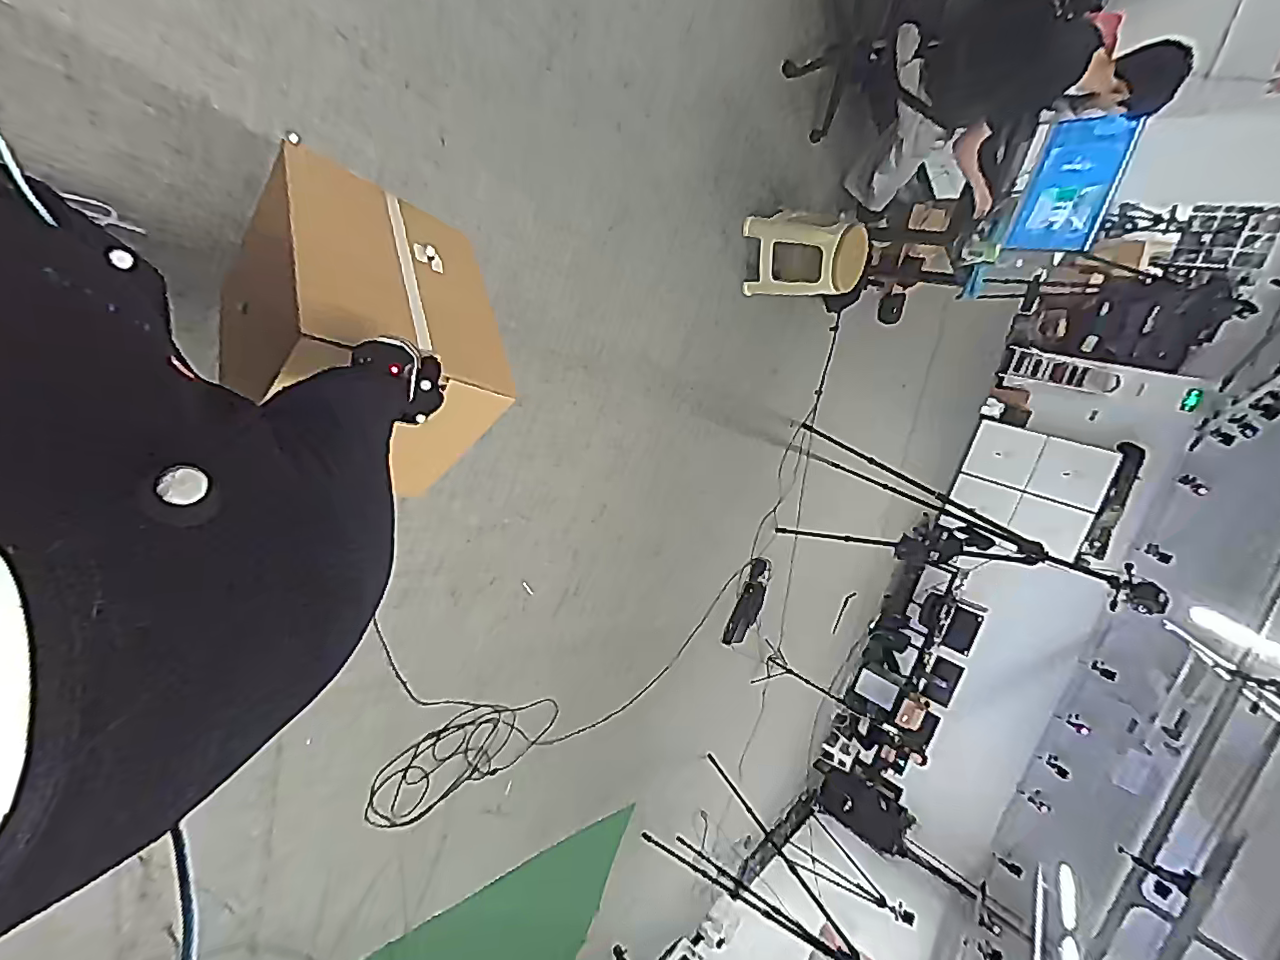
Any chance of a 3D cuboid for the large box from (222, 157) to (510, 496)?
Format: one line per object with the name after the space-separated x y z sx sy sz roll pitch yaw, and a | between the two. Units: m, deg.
-0.478 -0.226 0.917 0.320 0.408 0.320 -39 150 28 | large box
